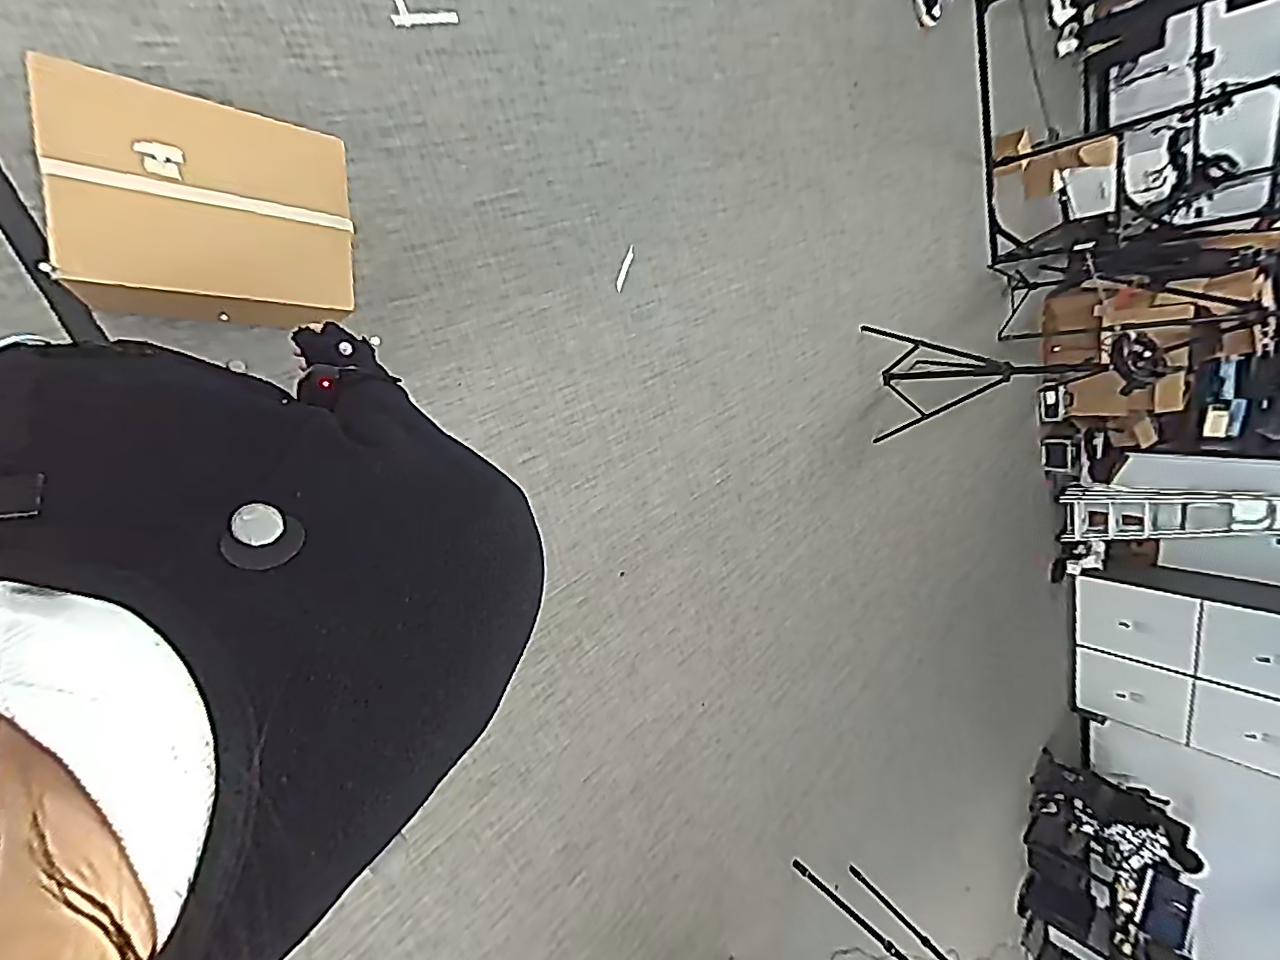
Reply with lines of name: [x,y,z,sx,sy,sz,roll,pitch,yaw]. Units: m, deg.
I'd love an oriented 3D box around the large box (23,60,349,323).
large box: [-0.813,-0.486,1.027,0.408,0.320,0.320,-5,98,-37]
